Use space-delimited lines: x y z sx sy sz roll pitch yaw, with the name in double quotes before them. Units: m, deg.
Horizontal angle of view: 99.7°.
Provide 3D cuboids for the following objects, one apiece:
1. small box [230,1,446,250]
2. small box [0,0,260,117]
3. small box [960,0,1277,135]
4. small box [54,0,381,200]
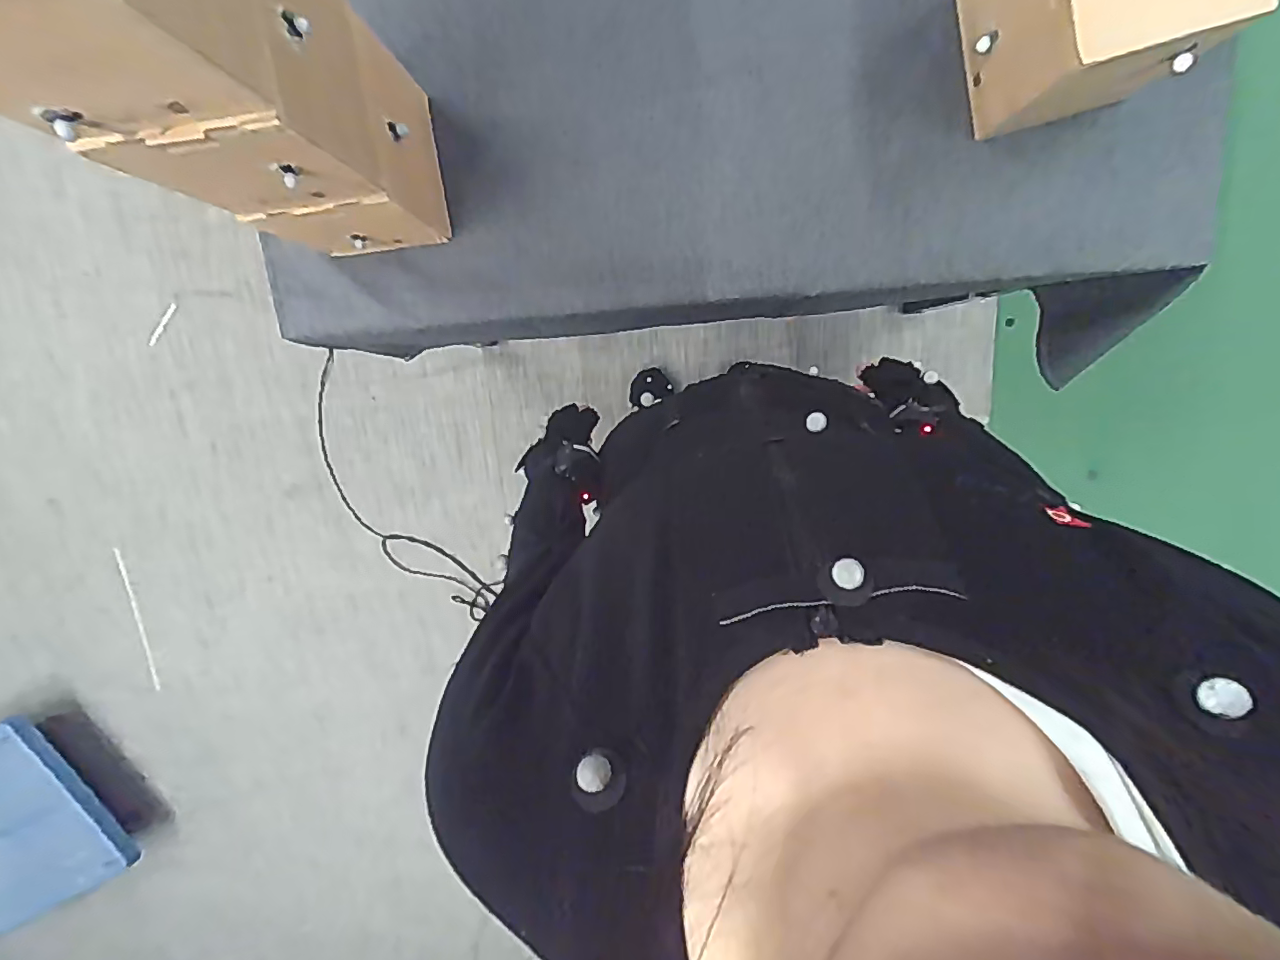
"small box" -0.340 -0.378 0.610 0.168 0.176 0.179 -6 101 3
"small box" -0.349 -0.325 0.288 0.168 0.176 0.179 -7 101 2
"small box" 0.466 -0.491 0.551 0.179 0.176 0.168 -13 100 6
"small box" -0.343 -0.350 0.450 0.168 0.176 0.179 -5 101 2
